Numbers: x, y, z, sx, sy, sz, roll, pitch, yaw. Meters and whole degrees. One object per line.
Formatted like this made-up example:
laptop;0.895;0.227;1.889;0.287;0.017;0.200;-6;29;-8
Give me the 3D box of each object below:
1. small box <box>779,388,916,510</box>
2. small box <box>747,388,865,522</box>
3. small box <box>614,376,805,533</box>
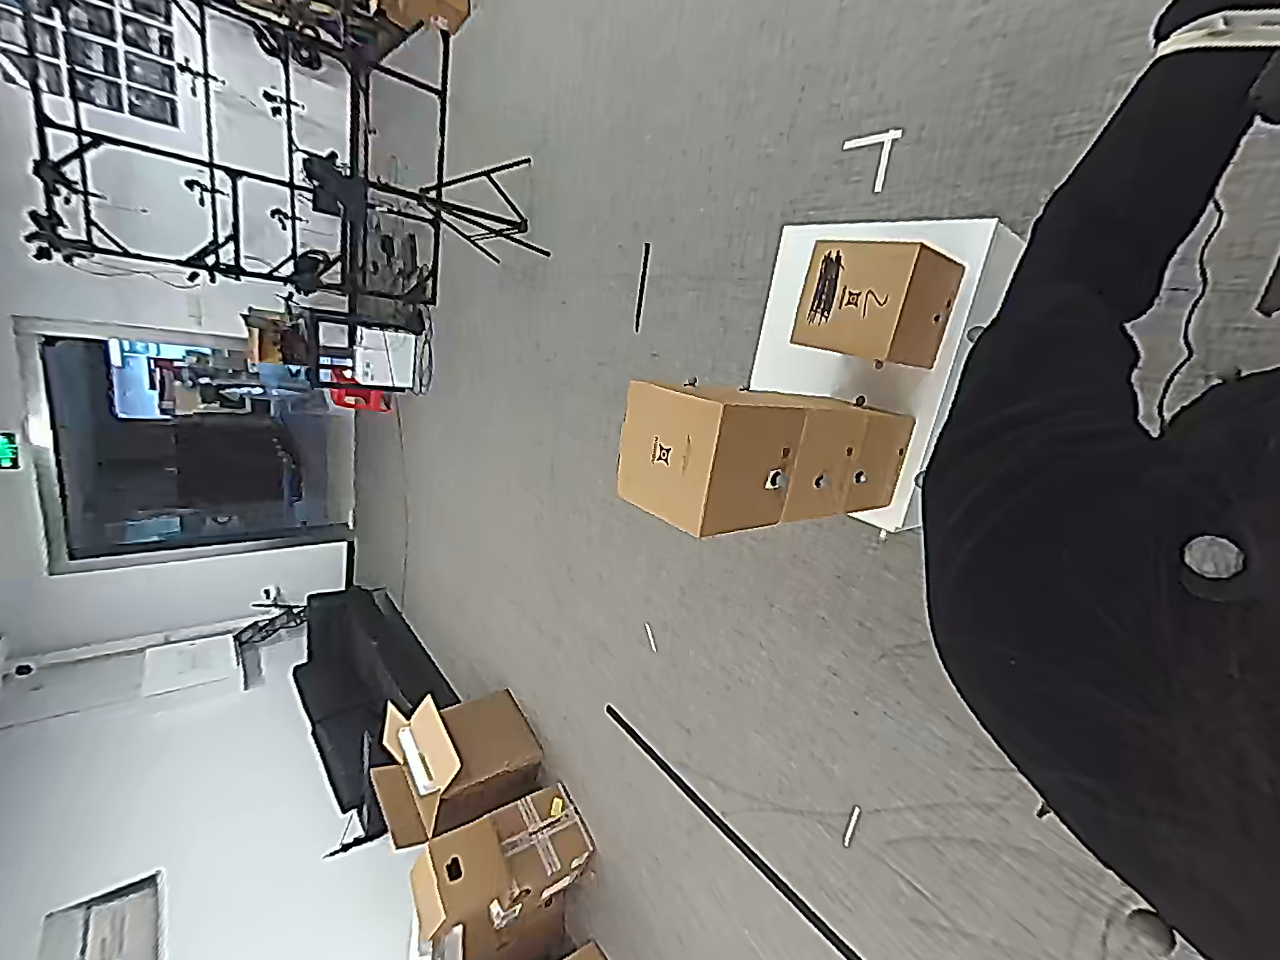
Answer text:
small box;0.339;-0.058;0.940;0.179;0.176;0.168;28;115;47
small box;0.215;-0.049;0.835;0.179;0.176;0.168;25;112;47
small box;0.090;-0.042;0.732;0.179;0.176;0.168;24;112;46
